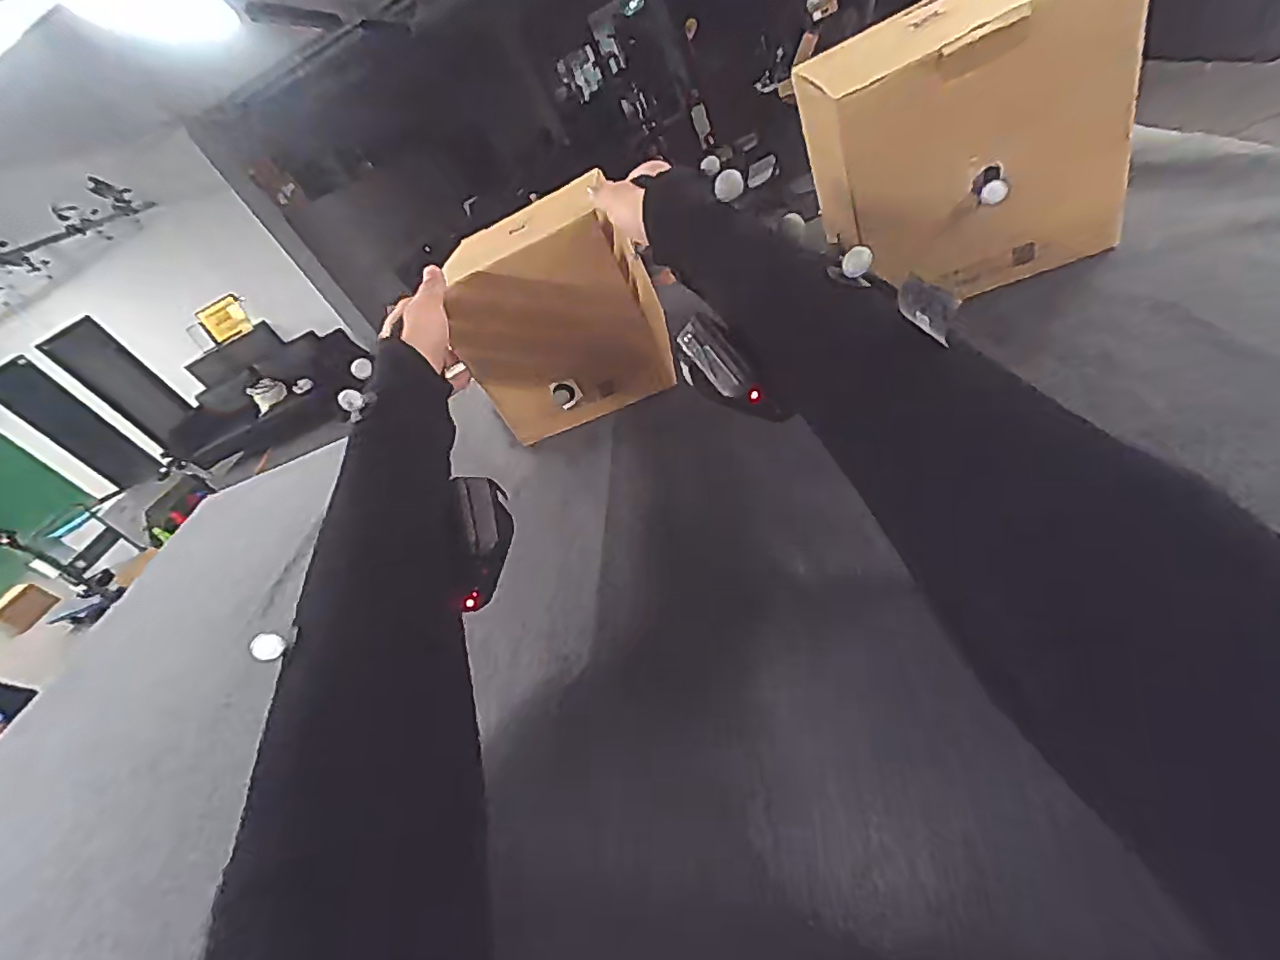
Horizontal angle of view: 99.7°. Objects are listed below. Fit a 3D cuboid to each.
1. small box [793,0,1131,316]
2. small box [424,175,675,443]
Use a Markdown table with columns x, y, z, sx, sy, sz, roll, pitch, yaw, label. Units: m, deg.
| x | y | z | sx | sy | sz | roll | pitch | yaw | label |
| --- | --- | --- | --- | --- | --- | --- | --- | --- | --- |
| 0.231 | -0.251 | 0.420 | 0.168 | 0.176 | 0.179 | -16 | 40 | 18 | small box |
| -0.074 | -0.167 | 0.538 | 0.168 | 0.176 | 0.179 | -21 | 37 | 14 | small box |
